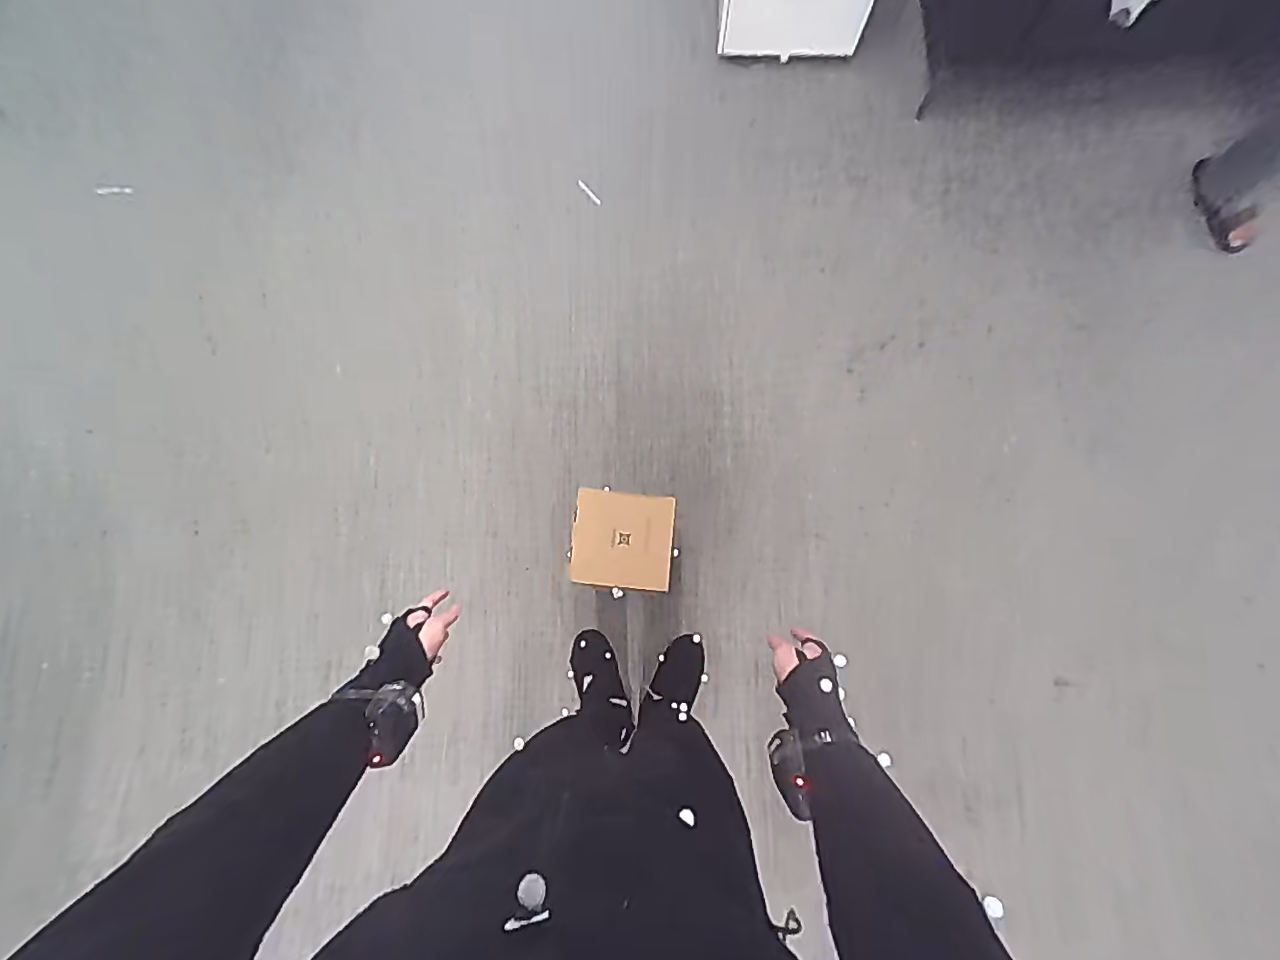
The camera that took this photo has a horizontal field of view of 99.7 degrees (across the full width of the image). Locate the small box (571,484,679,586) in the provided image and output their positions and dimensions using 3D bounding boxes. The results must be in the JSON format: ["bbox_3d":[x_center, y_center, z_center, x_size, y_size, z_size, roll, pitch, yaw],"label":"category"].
[{"bbox_3d":[-0.025,0.108,1.025,0.179,0.176,0.168,5,81,1],"label":"small box"}]

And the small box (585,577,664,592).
[{"bbox_3d":[-0.022,0.145,1.182,0.168,0.176,0.179,7,81,2],"label":"small box"}]
